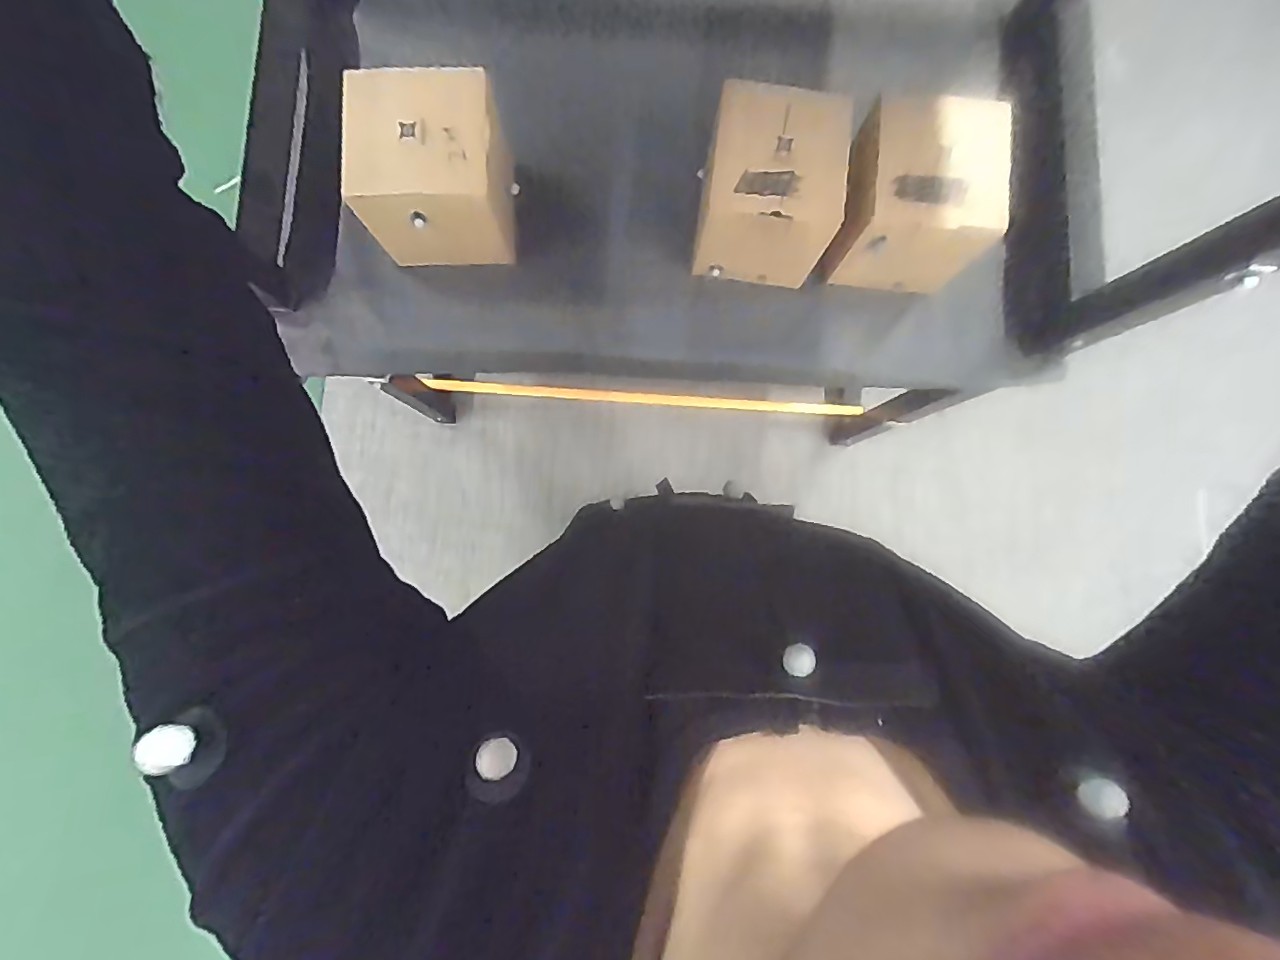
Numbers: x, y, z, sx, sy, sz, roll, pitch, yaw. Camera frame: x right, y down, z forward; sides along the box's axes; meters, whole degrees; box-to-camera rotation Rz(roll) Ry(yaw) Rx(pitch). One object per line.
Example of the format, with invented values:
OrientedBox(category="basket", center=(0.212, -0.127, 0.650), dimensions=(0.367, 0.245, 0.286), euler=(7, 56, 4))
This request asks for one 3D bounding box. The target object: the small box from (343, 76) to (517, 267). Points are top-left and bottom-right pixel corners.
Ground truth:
OrientedBox(category="small box", center=(-0.272, -0.406, 0.737), dimensions=(0.179, 0.176, 0.168), euler=(-1, 84, -2))
